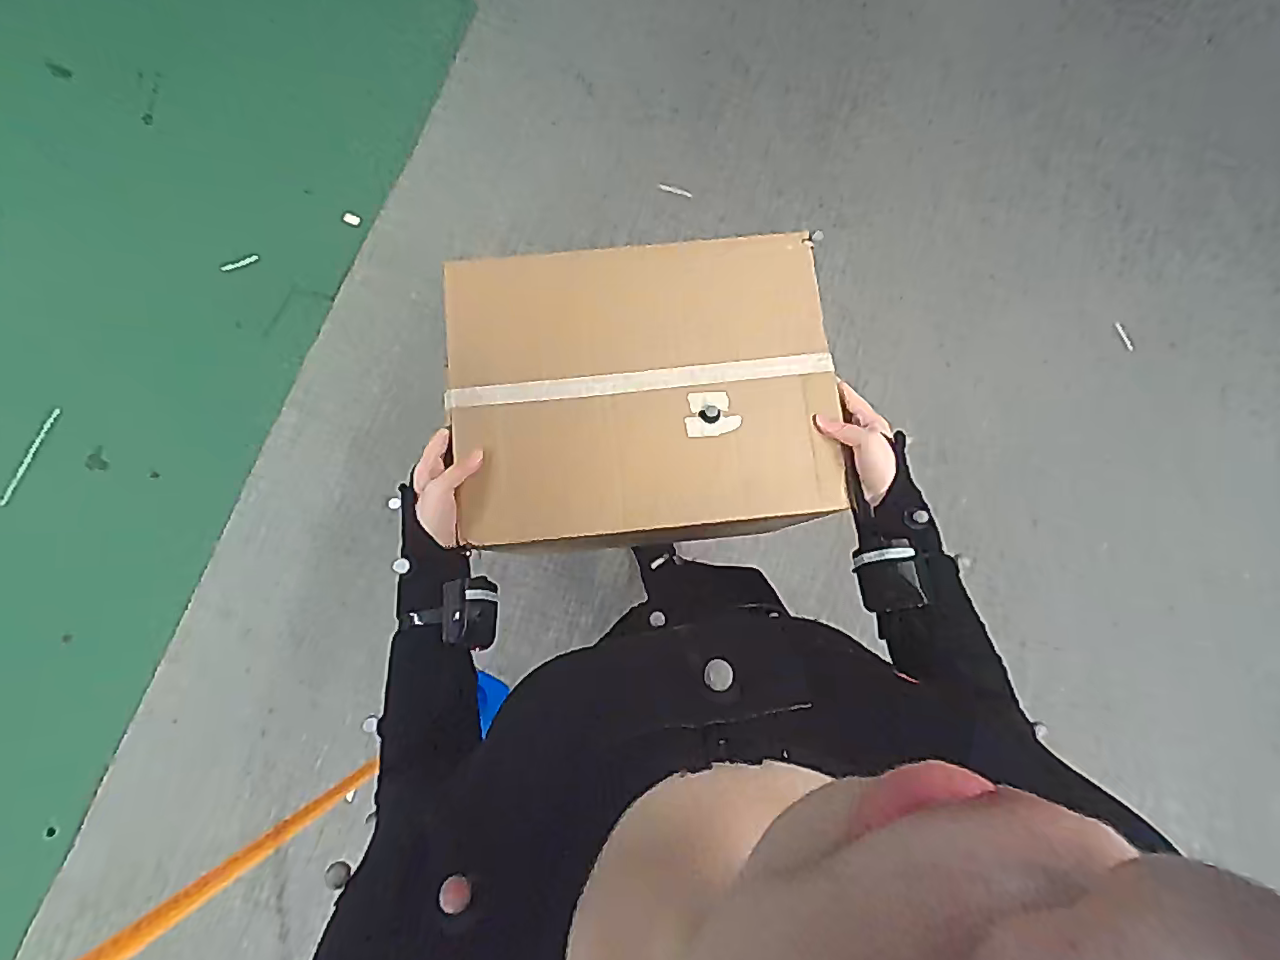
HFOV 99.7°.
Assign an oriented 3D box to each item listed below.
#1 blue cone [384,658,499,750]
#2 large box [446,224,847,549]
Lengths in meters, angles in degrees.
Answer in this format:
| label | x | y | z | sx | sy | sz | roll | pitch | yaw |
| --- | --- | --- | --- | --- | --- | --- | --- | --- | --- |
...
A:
| label | x | y | z | sx | sy | sz | roll | pitch | yaw |
| --- | --- | --- | --- | --- | --- | --- | --- | --- | --- |
| blue cone | -0.486 | 0.560 | 1.271 | 0.192 | 0.380 | 0.193 | 27 | 80 | 7 |
| large box | -0.005 | -0.092 | 0.721 | 0.408 | 0.320 | 0.320 | -6 | 81 | -3 |
